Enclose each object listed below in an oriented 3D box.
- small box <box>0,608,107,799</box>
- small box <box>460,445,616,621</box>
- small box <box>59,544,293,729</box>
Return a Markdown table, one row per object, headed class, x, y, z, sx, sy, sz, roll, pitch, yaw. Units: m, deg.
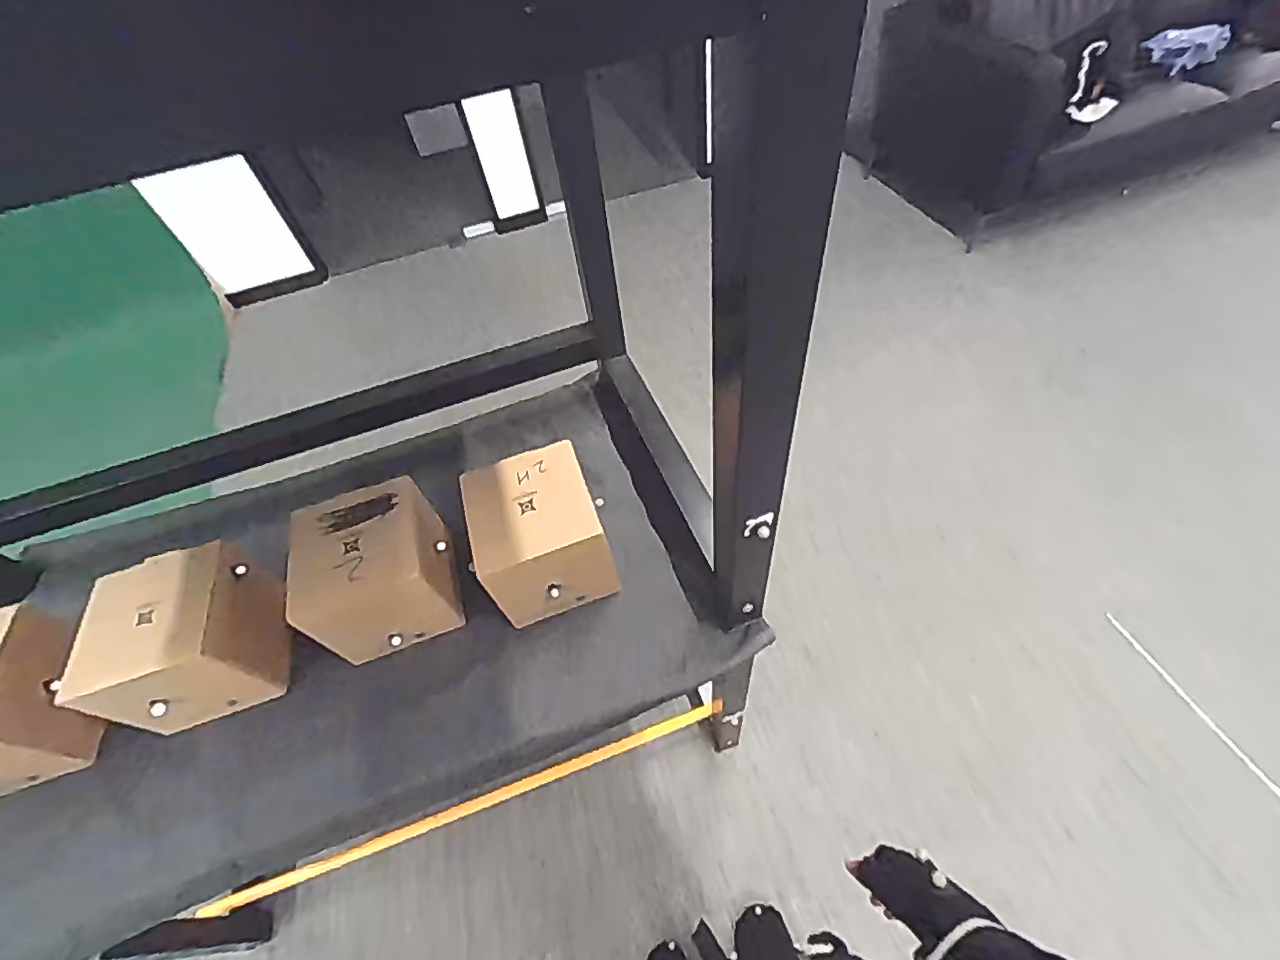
| class | x | y | z | sx | sy | sz | roll | pitch | yaw |
| --- | --- | --- | --- | --- | --- | --- | --- | --- | --- |
| small box | -0.850 | 0.302 | 0.712 | 0.168 | 0.176 | 0.179 | -18 | 53 | -6 |
| small box | -0.143 | 0.085 | 0.785 | 0.168 | 0.176 | 0.179 | -19 | 52 | -7 |
| small box | -0.612 | 0.223 | 0.745 | 0.168 | 0.176 | 0.179 | -18 | 52 | -7 |
